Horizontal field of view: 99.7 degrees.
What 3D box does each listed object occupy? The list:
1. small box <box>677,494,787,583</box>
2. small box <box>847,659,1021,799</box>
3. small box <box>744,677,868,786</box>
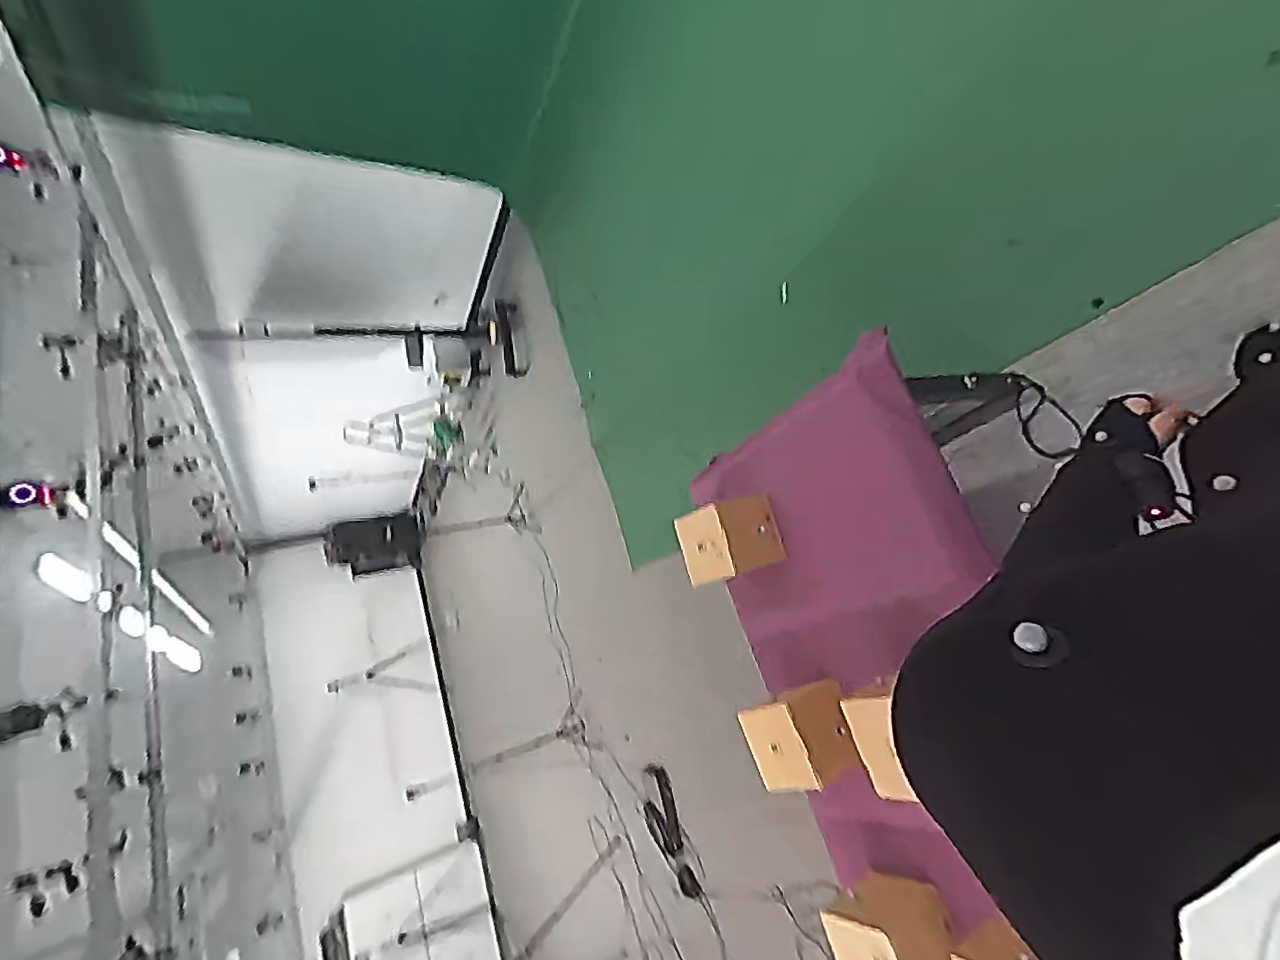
[{"bbox_3d":[0.222,0.142,1.314,0.179,0.176,0.168,-33,71,55],"label":"small box"},{"bbox_3d":[0.508,0.427,0.942,0.179,0.176,0.168,-42,63,54],"label":"small box"},{"bbox_3d":[0.369,0.553,1.192,0.179,0.176,0.168,-48,58,50],"label":"small box"}]
